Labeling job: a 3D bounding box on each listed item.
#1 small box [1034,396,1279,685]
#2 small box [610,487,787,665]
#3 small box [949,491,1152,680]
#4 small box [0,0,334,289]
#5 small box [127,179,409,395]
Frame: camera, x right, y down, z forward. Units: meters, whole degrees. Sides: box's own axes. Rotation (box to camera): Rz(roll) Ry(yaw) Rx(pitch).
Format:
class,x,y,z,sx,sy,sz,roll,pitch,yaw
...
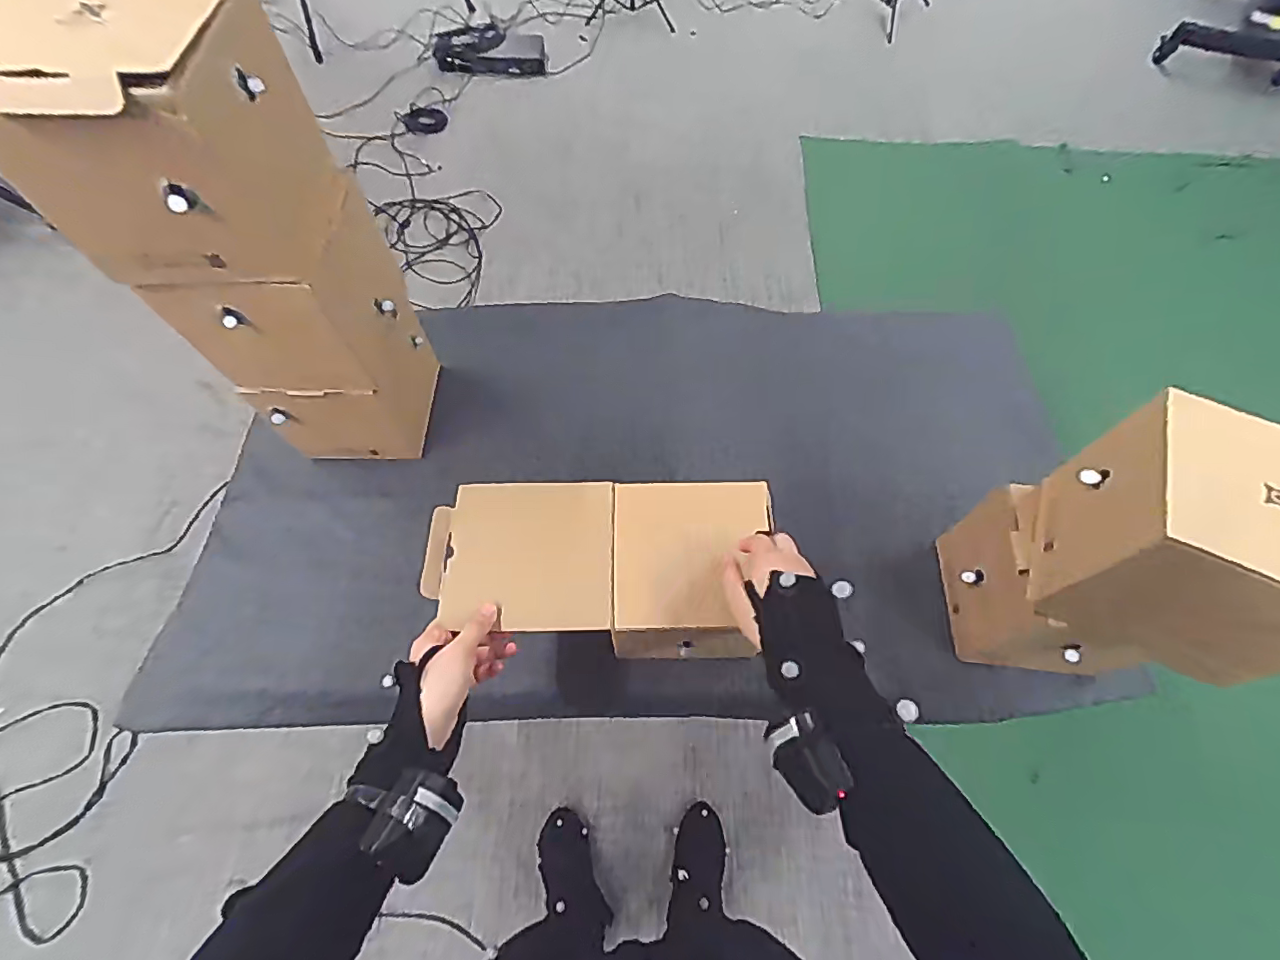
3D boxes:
class,x,y,z,sx,sy,sz,roll,pitch,yaw
small box,0.498,0.062,0.484,0.179,0.176,0.168,25,62,12
small box,0.057,0.118,0.634,0.179,0.176,0.168,-1,62,0
small box,0.492,0.129,0.634,0.179,0.176,0.168,5,60,3
small box,-0.392,-0.282,0.461,0.168,0.176,0.179,-2,62,-4
small box,-0.389,-0.209,0.607,0.179,0.176,0.168,1,64,-1
